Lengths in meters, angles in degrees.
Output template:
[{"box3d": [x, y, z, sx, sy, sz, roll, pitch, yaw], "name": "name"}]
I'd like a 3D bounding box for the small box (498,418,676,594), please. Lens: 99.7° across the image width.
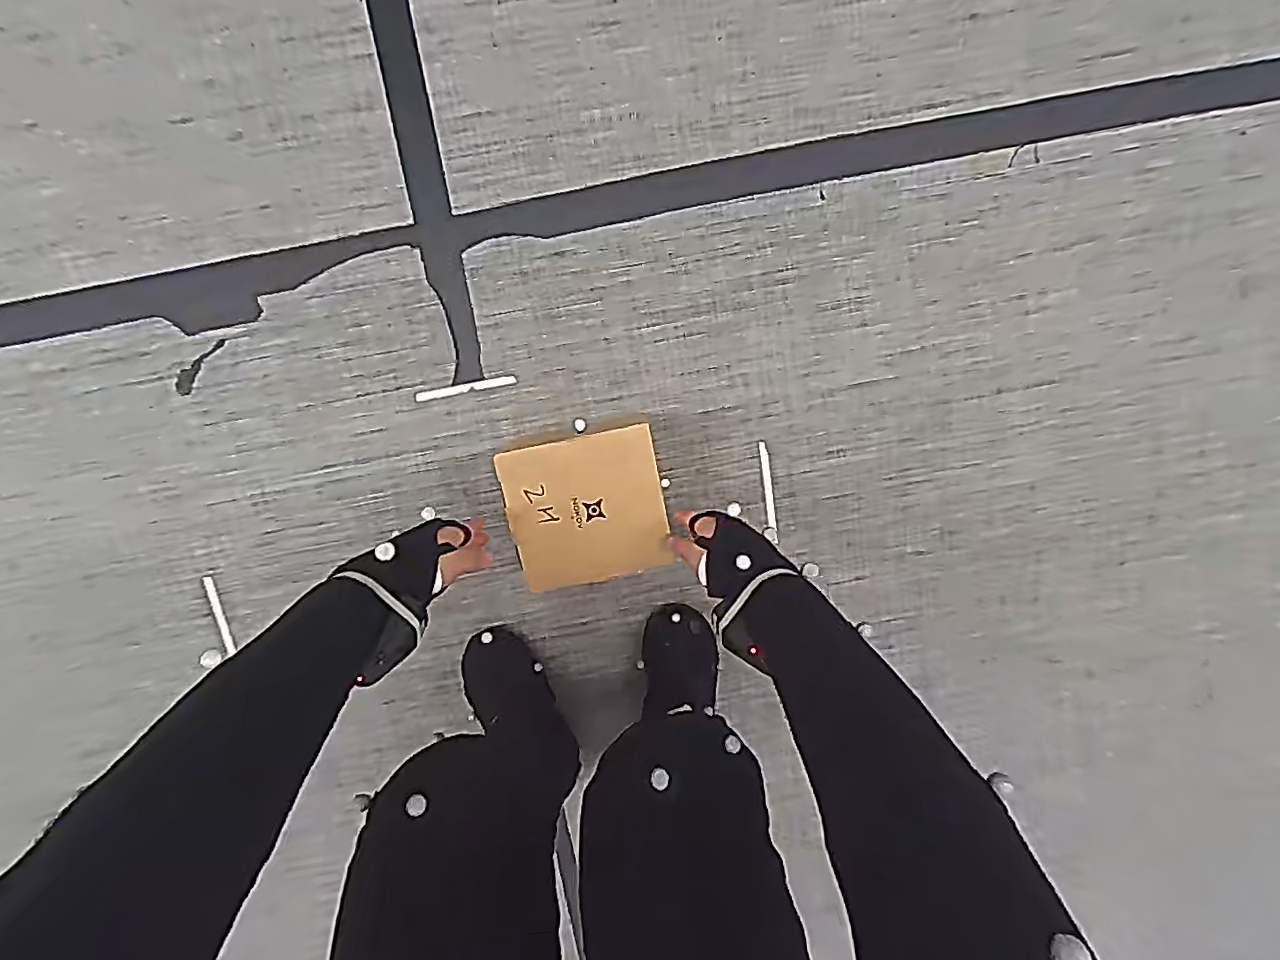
[{"box3d": [-0.062, 0.021, 0.683, 0.179, 0.176, 0.168, -11, 101, -1], "name": "small box"}]
